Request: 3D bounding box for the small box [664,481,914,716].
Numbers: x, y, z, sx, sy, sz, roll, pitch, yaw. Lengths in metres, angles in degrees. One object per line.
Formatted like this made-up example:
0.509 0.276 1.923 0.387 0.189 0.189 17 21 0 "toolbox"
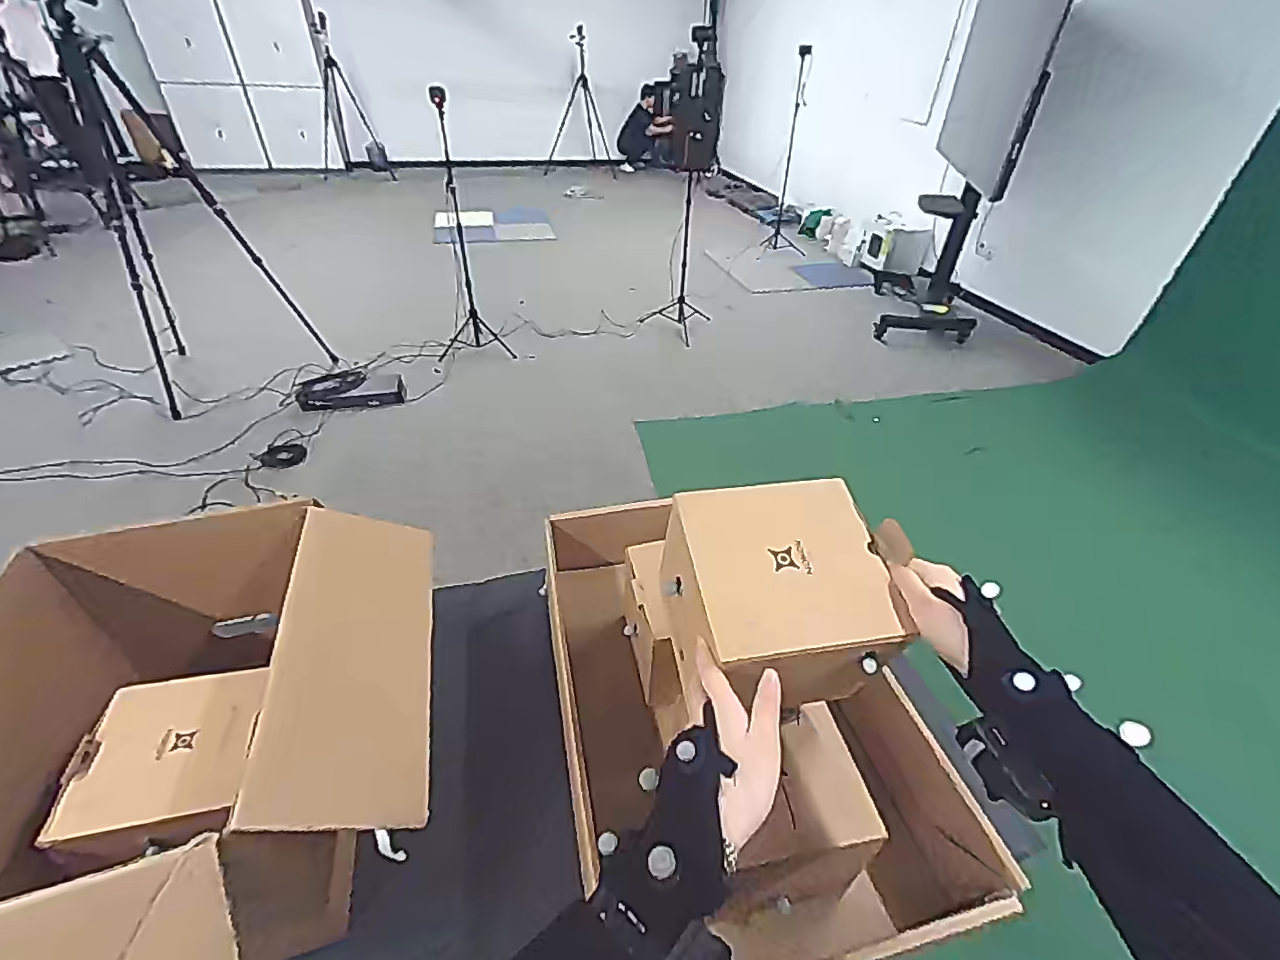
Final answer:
0.124 0.121 0.541 0.179 0.176 0.168 -5 52 -10 "small box"
